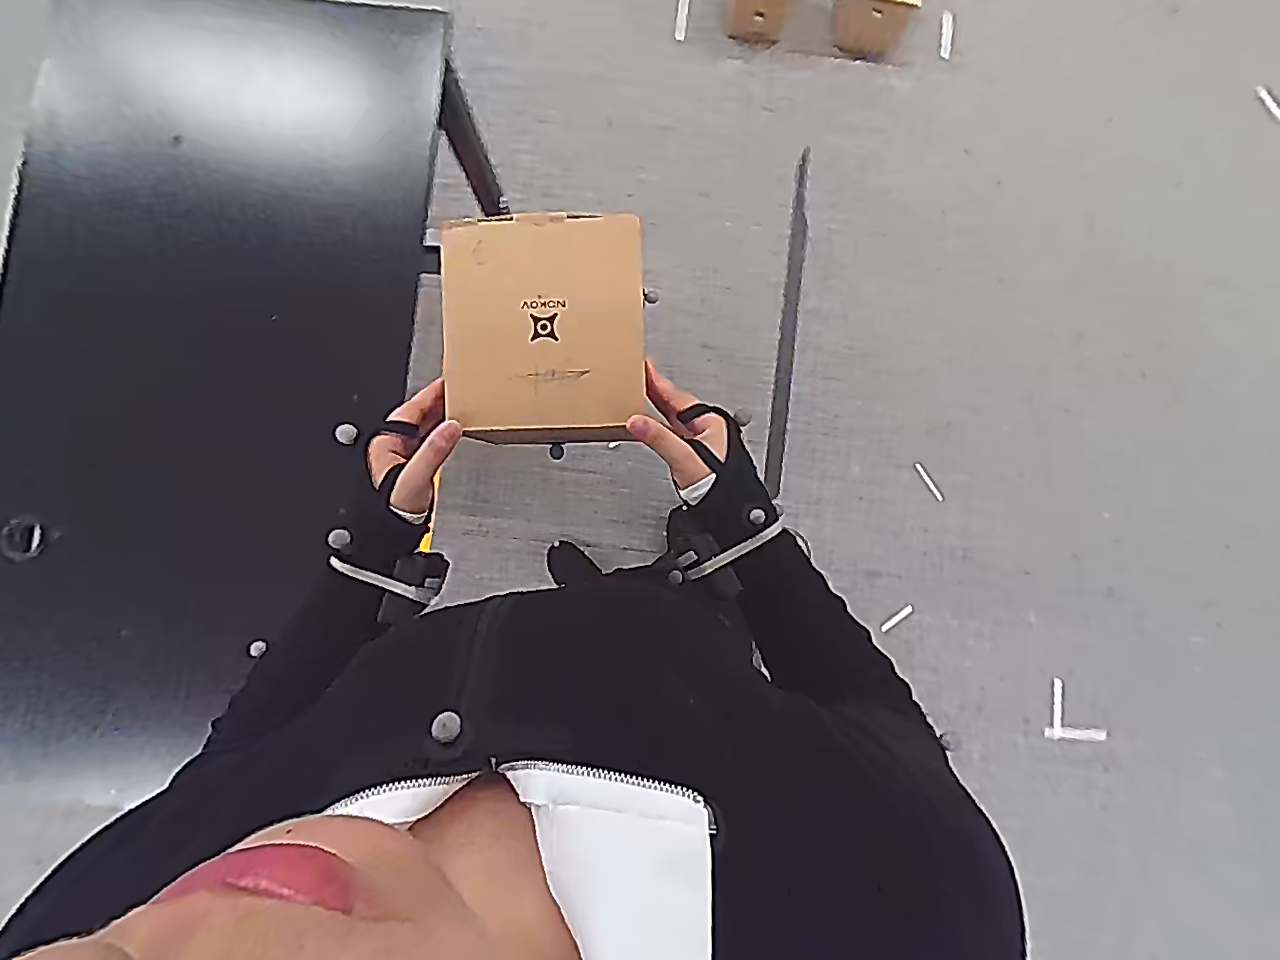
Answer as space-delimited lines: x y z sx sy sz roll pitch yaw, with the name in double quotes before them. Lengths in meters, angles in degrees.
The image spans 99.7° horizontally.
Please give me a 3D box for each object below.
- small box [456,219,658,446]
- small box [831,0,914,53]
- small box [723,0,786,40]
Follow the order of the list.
"small box" -0.069 -0.126 0.522 0.168 0.176 0.179 0 90 0
"small box" 0.666 -1.375 1.548 0.179 0.176 0.168 9 86 -2
"small box" 0.333 -1.407 1.540 0.168 0.176 0.179 5 87 -1
